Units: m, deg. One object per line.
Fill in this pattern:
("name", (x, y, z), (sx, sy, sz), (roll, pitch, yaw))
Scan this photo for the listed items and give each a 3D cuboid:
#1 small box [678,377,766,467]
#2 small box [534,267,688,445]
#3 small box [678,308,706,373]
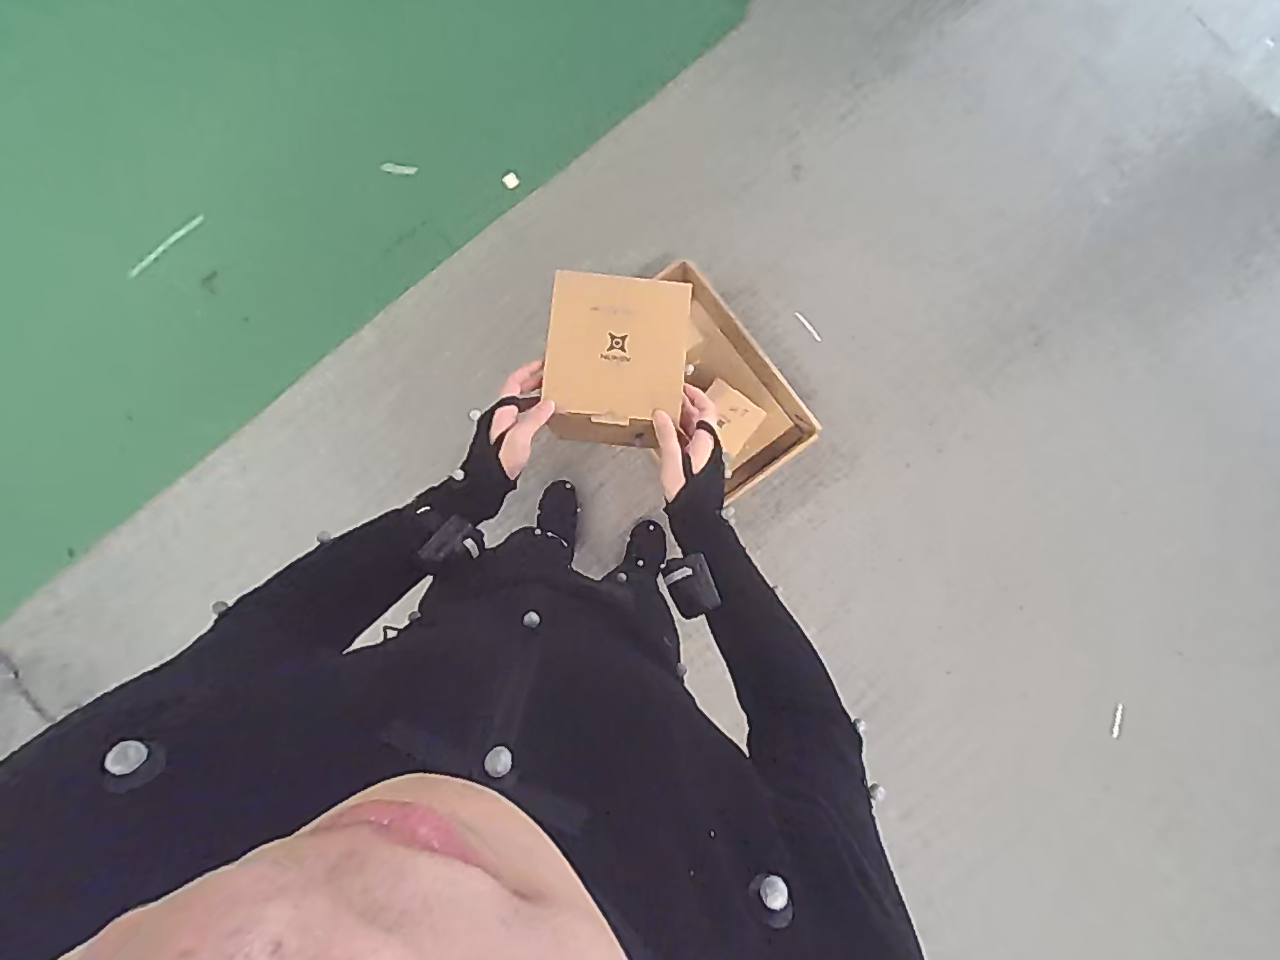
("small box", (0.223, -0.151, 1.491), (0.168, 0.176, 0.179), (38, 90, 5))
("small box", (-0.035, -0.148, 0.705), (0.168, 0.176, 0.179), (5, 83, -2))
("small box", (0.045, -0.356, 1.348), (0.168, 0.176, 0.179), (-32, 86, 2))
